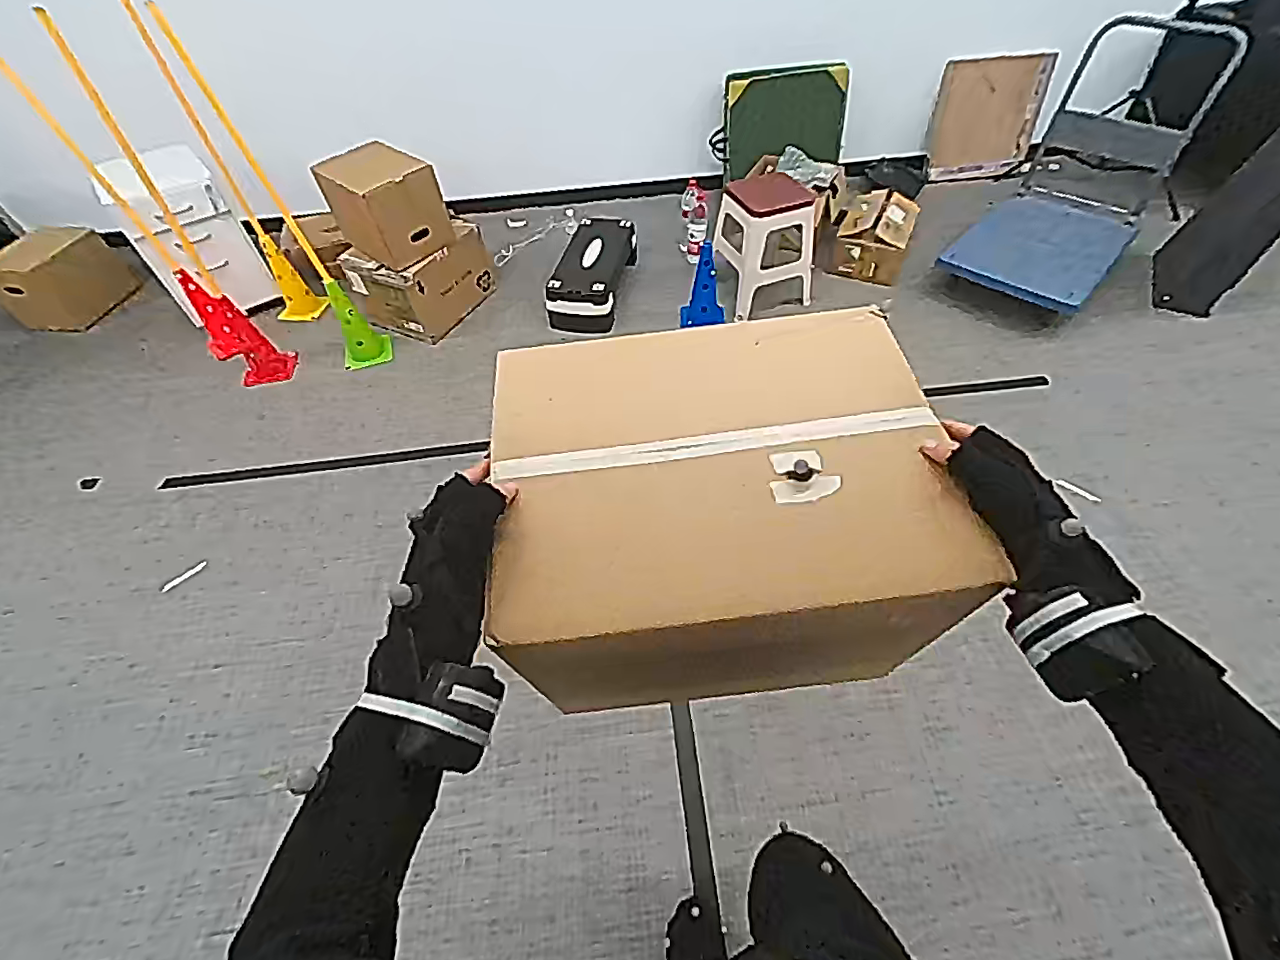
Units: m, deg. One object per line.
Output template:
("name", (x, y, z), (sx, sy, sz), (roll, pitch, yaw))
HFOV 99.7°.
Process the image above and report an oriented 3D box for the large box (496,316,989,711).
("large box", (0.074, 0.054, 0.629), (0.408, 0.320, 0.320), (-7, 57, 0))
